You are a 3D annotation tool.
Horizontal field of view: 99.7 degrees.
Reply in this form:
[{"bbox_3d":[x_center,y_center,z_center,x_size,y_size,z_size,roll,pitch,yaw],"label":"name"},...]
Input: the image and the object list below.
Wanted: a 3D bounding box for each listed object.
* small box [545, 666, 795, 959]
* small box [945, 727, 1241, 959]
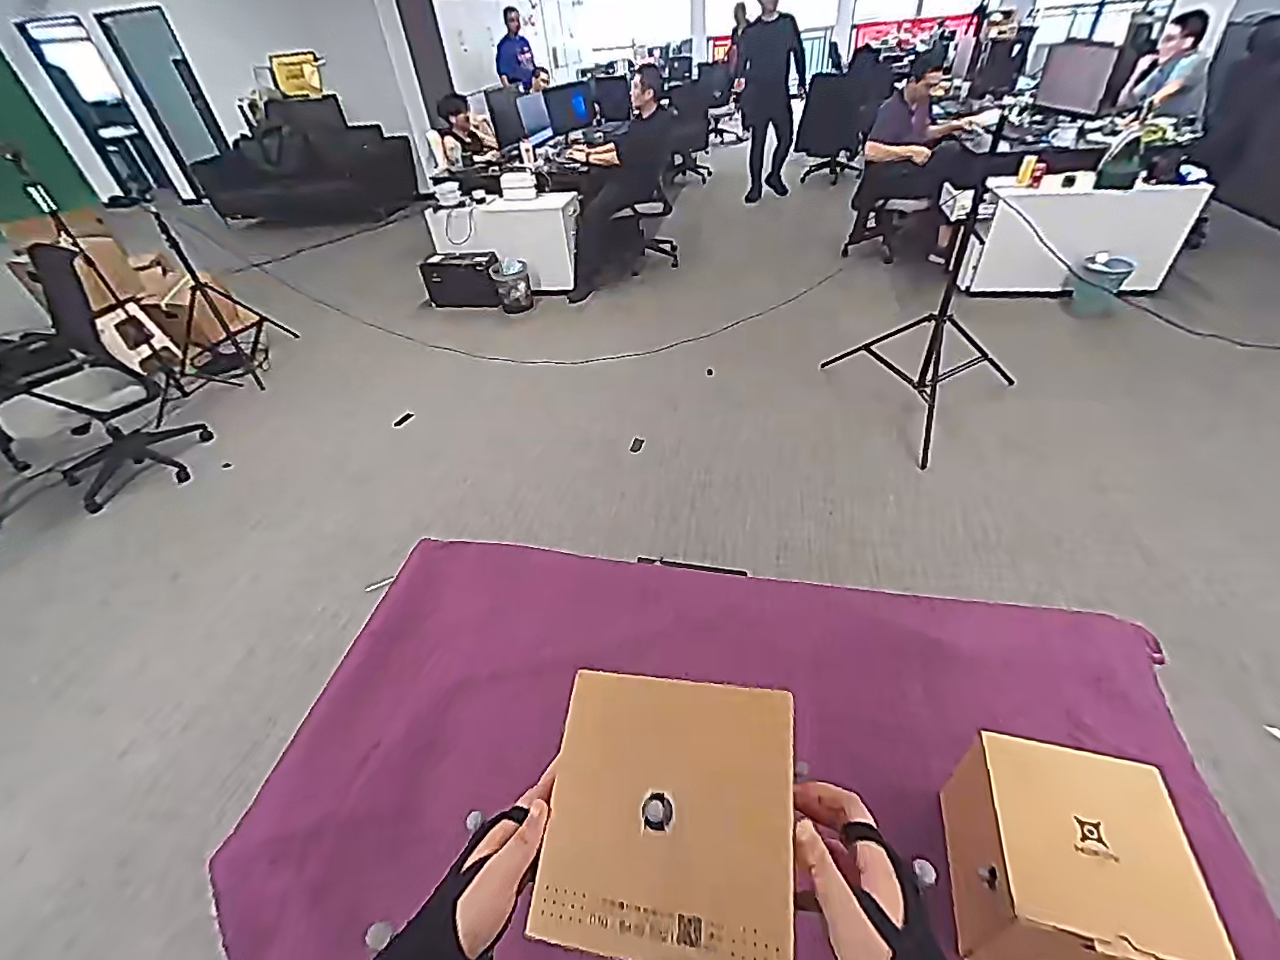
[{"bbox_3d":[0.036,0.261,0.433,0.168,0.179,0.176,0,57,14],"label":"small box"},{"bbox_3d":[0.439,0.399,0.568,0.168,0.176,0.179,7,41,15],"label":"small box"}]
